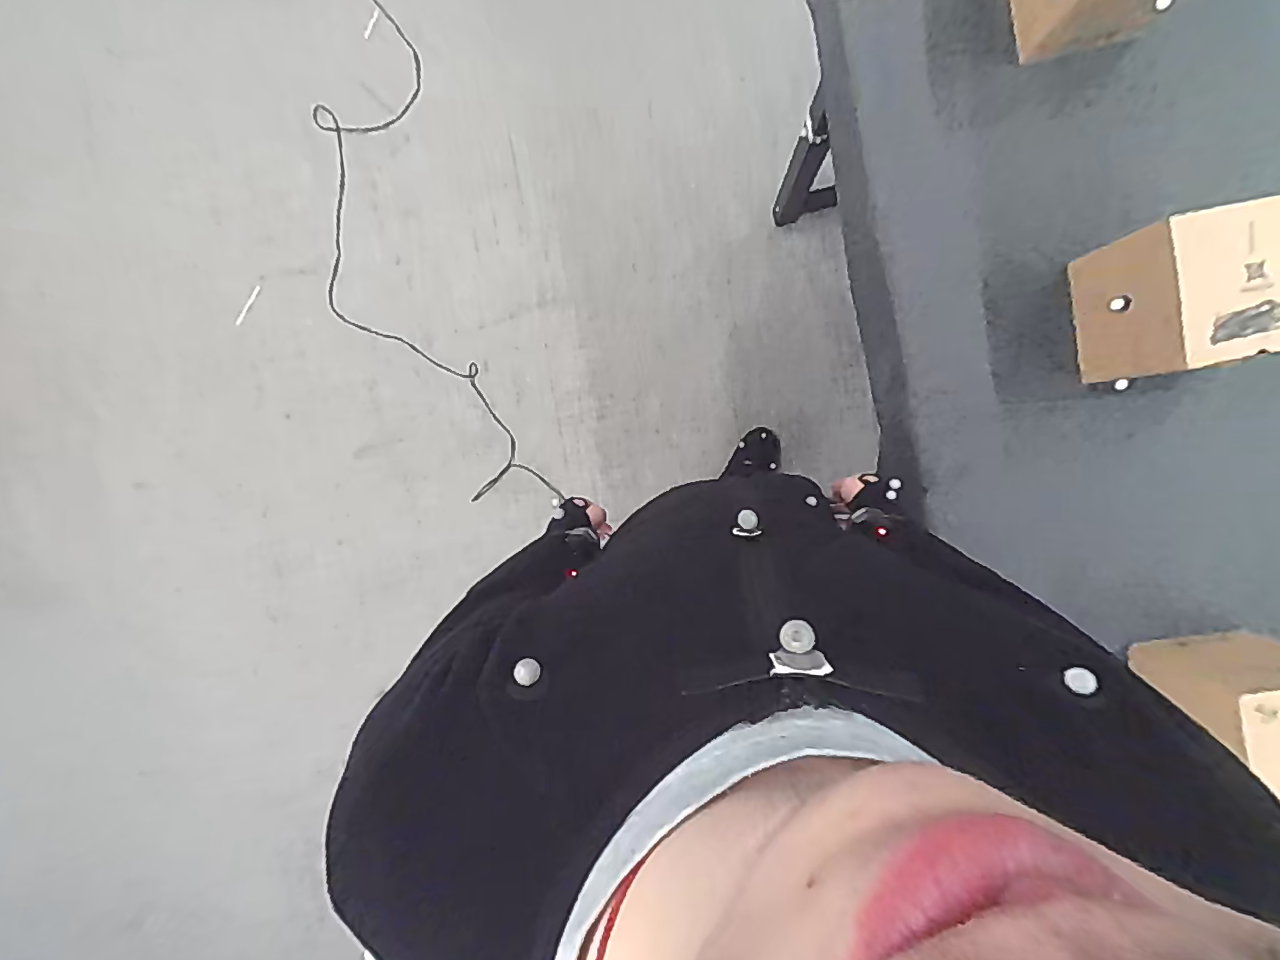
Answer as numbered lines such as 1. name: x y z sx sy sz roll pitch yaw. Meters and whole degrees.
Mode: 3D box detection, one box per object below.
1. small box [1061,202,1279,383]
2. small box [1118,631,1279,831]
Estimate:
1. small box: 0.688 -0.225 0.694 0.168 0.176 0.179 -9 93 3
2. small box: 0.794 0.323 0.723 0.168 0.176 0.179 -9 93 3
